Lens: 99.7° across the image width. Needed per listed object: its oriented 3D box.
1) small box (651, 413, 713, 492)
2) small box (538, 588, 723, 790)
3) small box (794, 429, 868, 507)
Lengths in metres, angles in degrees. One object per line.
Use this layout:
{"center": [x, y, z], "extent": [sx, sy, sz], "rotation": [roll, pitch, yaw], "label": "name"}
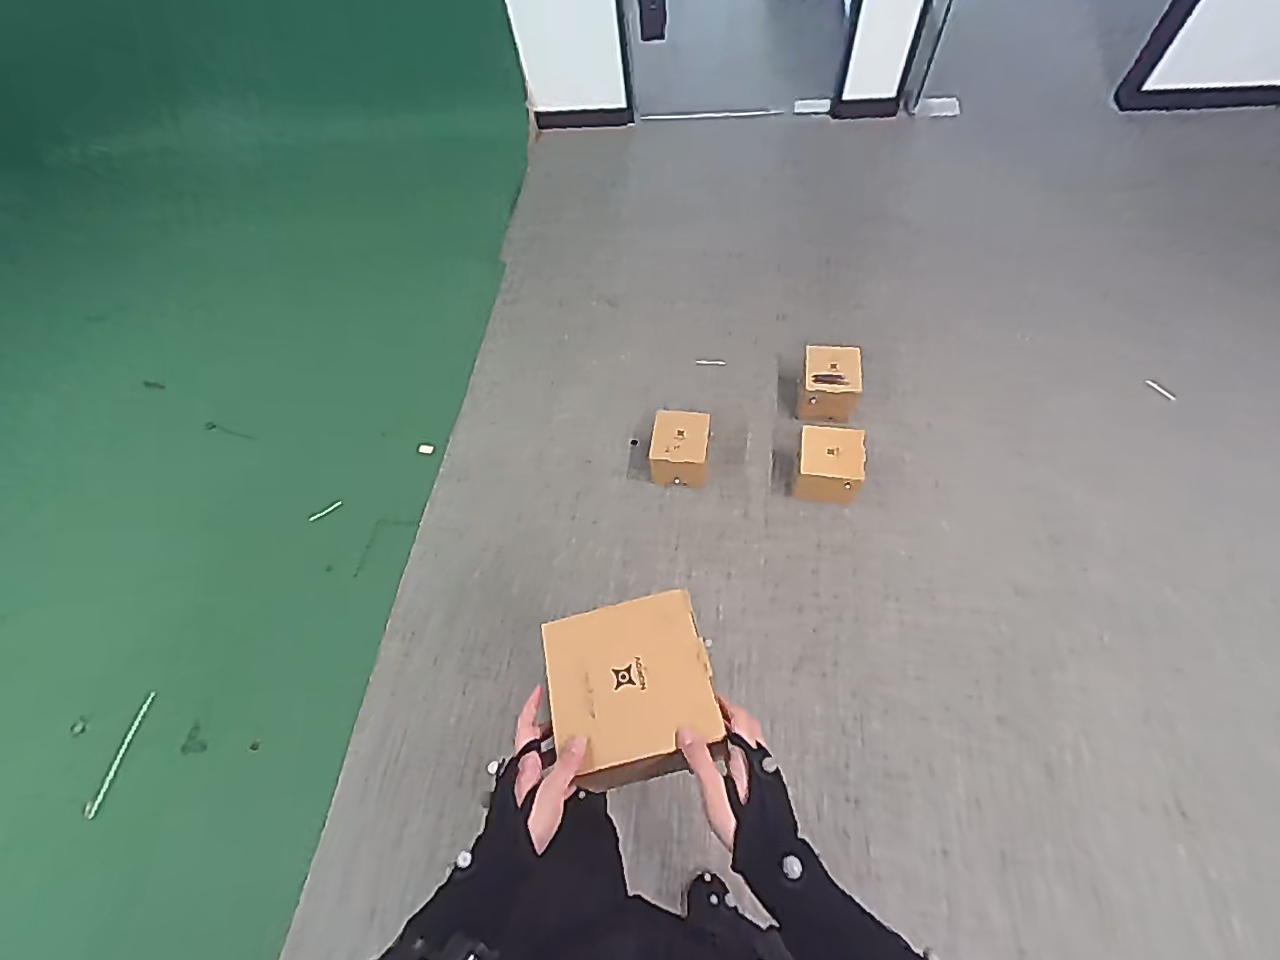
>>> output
{"center": [0.131, -0.082, 1.662], "extent": [0.168, 0.176, 0.179], "rotation": [5, 63, 10], "label": "small box"}
{"center": [-0.006, 0.250, 0.635], "extent": [0.179, 0.176, 0.168], "rotation": [-14, 54, 1], "label": "small box"}
{"center": [0.556, -0.032, 1.589], "extent": [0.179, 0.176, 0.168], "rotation": [6, 63, 9], "label": "small box"}
